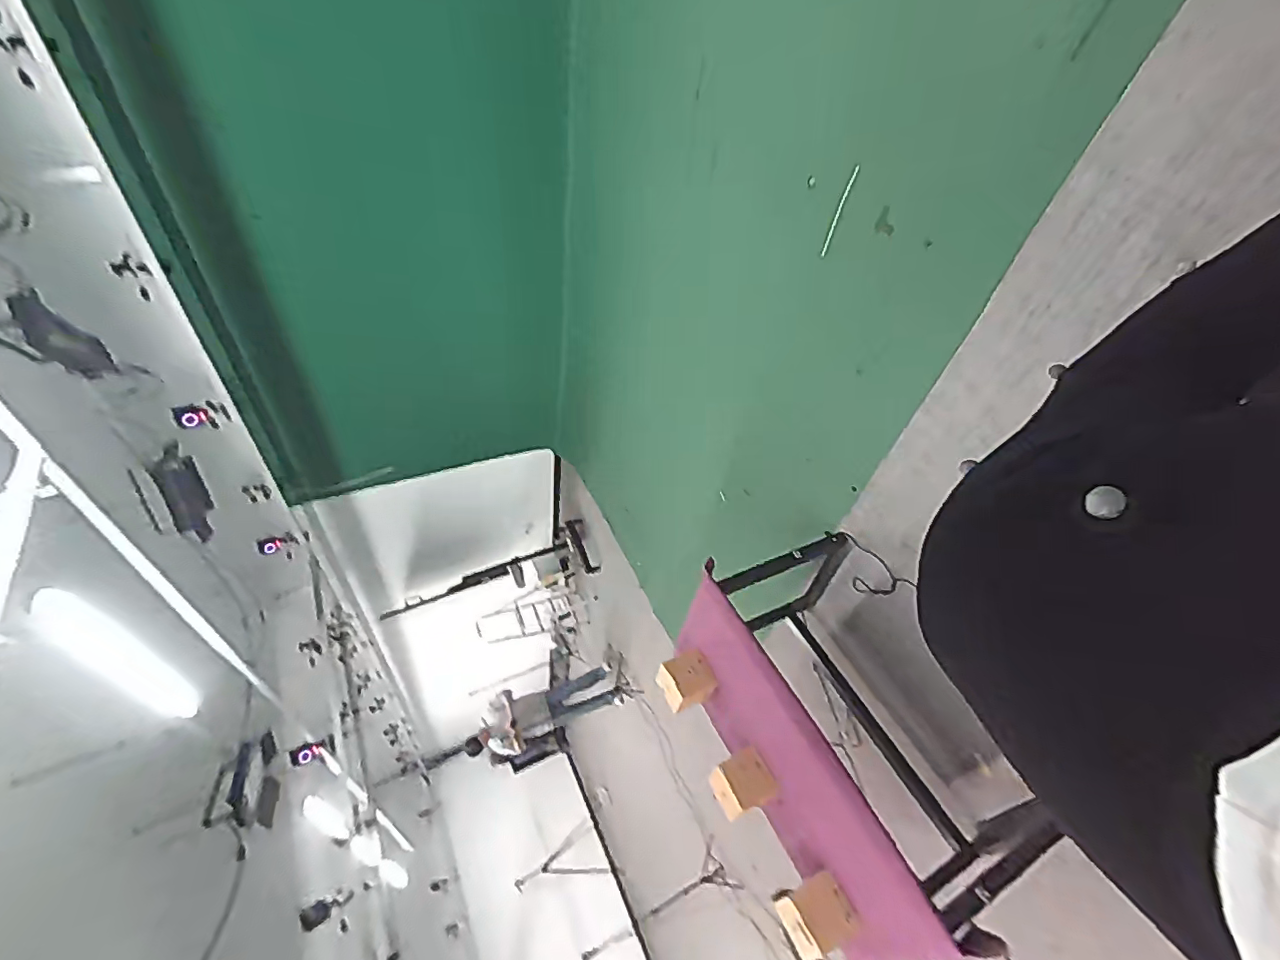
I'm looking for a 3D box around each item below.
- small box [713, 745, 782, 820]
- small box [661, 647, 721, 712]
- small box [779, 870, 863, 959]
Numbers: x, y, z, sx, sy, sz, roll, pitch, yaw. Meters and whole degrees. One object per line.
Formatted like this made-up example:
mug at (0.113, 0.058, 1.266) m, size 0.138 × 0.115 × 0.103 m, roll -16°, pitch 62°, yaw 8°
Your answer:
small box at (0.397, 1.112, 1.994) m, size 0.168 × 0.176 × 0.179 m, roll 57°, pitch 152°, yaw 36°
small box at (0.212, 0.818, 2.223) m, size 0.168 × 0.176 × 0.179 m, roll 57°, pitch 151°, yaw 34°
small box at (0.585, 1.397, 1.743) m, size 0.168 × 0.176 × 0.179 m, roll 57°, pitch 152°, yaw 37°
